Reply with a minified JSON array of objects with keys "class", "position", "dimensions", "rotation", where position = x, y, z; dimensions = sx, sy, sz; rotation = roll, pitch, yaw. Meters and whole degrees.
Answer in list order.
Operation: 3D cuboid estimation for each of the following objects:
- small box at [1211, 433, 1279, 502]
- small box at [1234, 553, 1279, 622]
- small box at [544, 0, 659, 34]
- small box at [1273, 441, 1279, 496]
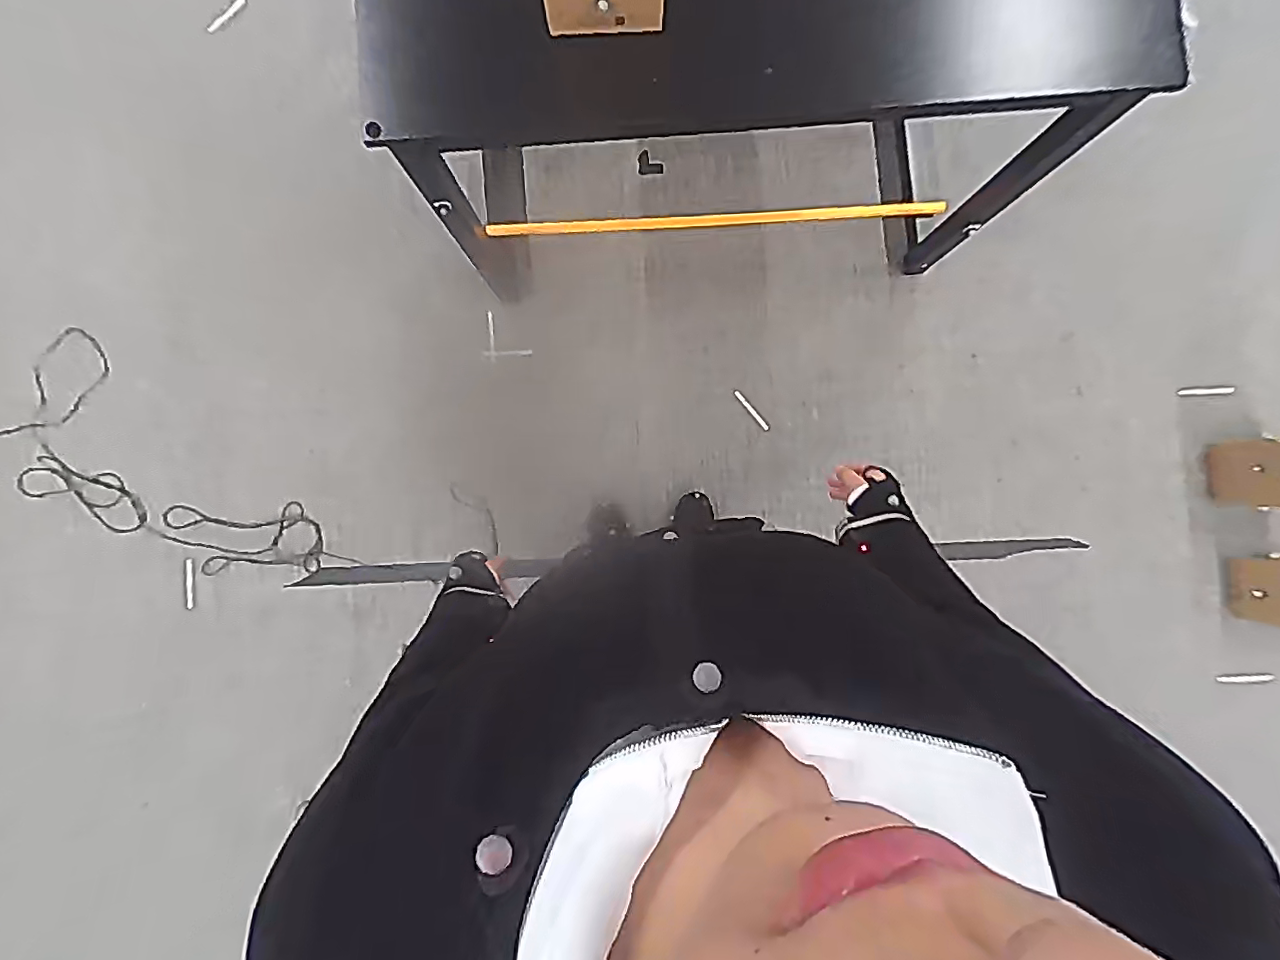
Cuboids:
[{"class":"small box","position":[1.661,-0.034,1.416],"dimensions":[0.168,0.176,0.179],"rotation":[-5,89,0]},{"class":"small box","position":[1.717,0.282,1.411],"dimensions":[0.179,0.176,0.168],"rotation":[-4,89,1]},{"class":"small box","position":[-0.057,-0.745,0.715],"dimensions":[0.168,0.176,0.179],"rotation":[-2,88,1]},{"class":"small box","position":[1.657,-0.033,1.253],"dimensions":[0.179,0.176,0.168],"rotation":[-8,87,2]}]
